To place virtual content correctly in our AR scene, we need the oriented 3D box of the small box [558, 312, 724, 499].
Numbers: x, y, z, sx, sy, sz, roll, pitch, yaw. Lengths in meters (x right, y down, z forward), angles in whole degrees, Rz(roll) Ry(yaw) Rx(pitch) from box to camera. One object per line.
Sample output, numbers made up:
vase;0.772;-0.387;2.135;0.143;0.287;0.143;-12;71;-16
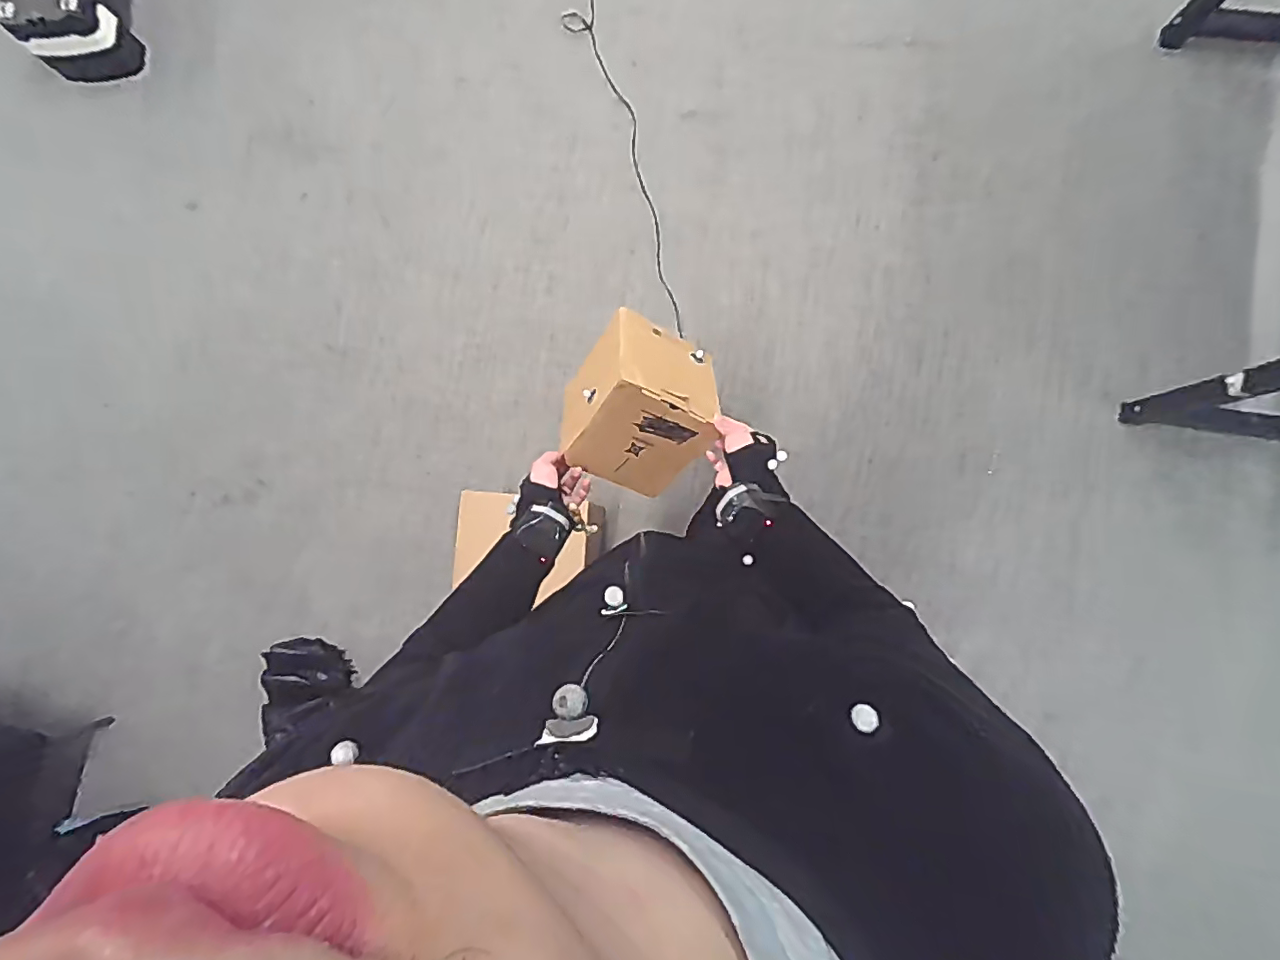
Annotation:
small box;-0.005;-0.107;0.780;0.168;0.179;0.176;22;43;-25
